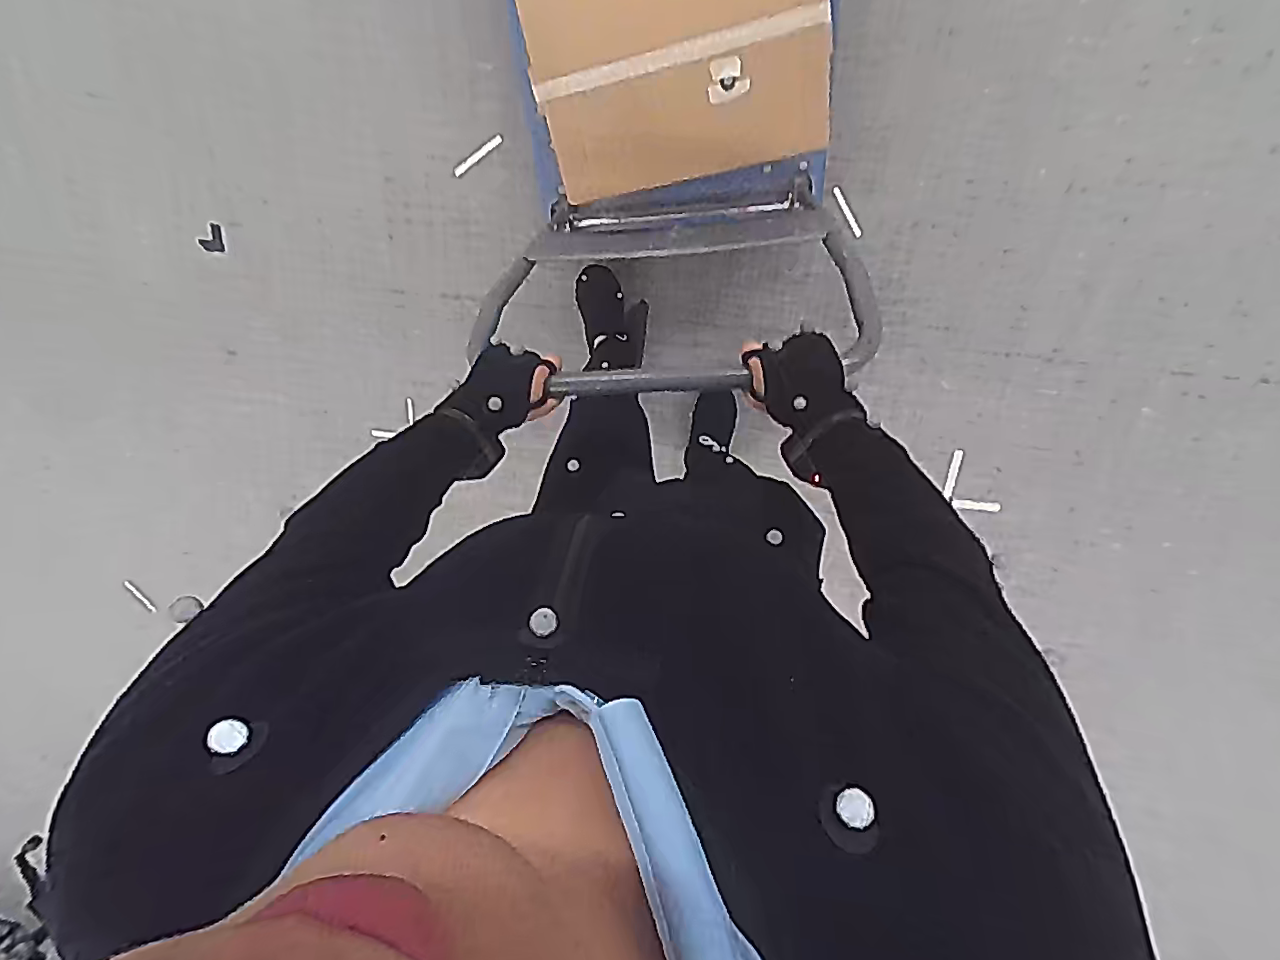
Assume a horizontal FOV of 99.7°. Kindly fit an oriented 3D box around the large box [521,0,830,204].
[{"bbox_3d":[0.065,-0.686,0.877,0.408,0.320,0.320,-8,126,11],"label":"large box"}]
